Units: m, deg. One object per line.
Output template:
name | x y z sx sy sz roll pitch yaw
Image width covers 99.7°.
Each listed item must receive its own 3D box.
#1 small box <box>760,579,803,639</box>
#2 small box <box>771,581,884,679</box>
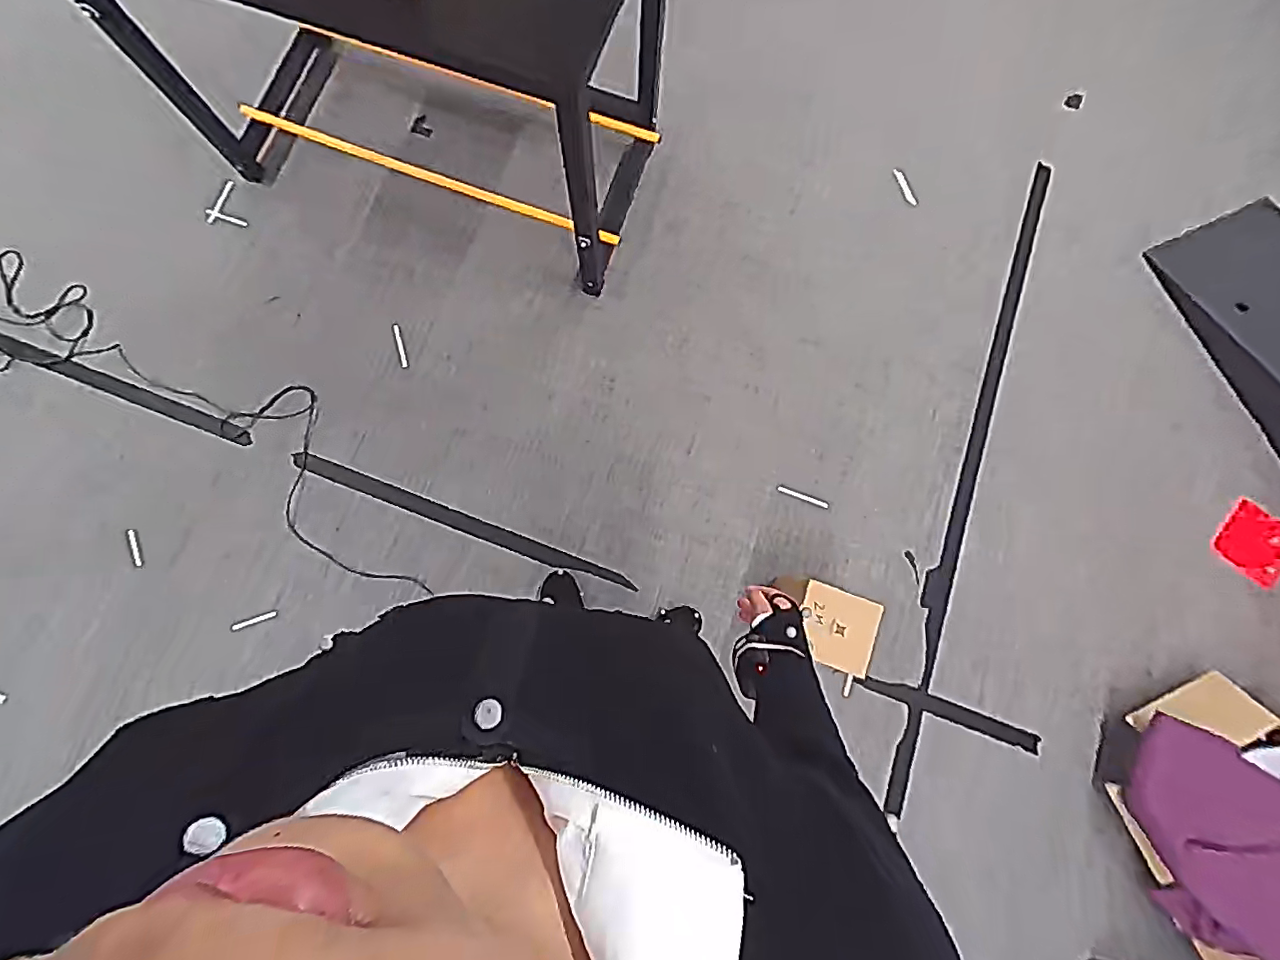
small box | 0.435 0.365 1.421 0.179 0.176 0.168 20 79 3
small box | 0.429 0.339 1.258 0.179 0.176 0.168 20 79 2
